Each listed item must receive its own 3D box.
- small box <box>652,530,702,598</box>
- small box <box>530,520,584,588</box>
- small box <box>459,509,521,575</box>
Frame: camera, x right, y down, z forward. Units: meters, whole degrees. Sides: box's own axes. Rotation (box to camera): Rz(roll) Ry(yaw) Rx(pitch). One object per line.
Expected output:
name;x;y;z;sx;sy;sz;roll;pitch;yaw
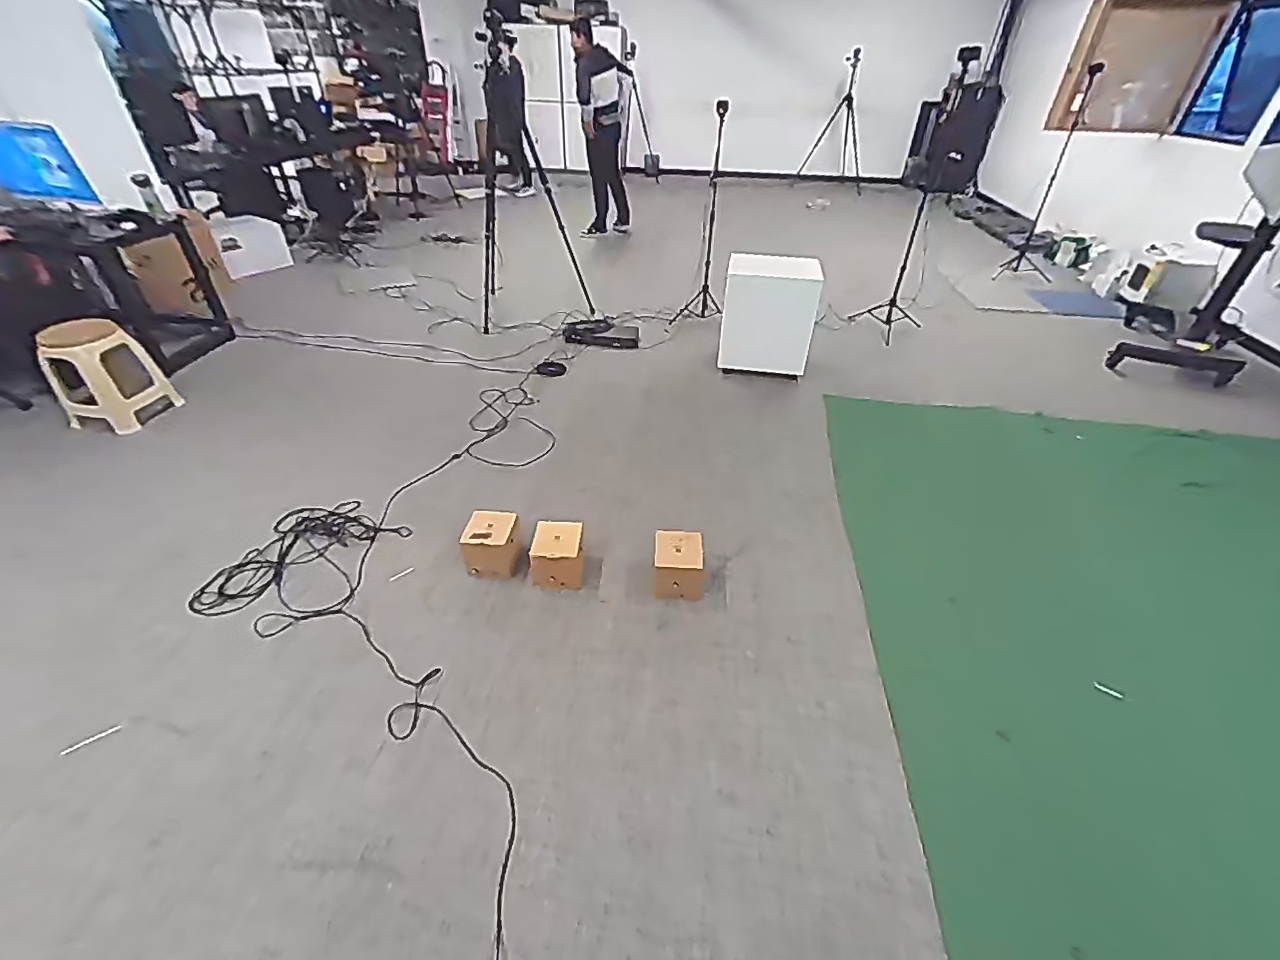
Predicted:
small box;0.131;0.301;1.926;0.168;0.176;0.179;3;39;1
small box;-0.294;0.267;1.956;0.168;0.176;0.179;2;39;1
small box;-0.544;0.230;1.992;0.168;0.176;0.179;4;38;3
